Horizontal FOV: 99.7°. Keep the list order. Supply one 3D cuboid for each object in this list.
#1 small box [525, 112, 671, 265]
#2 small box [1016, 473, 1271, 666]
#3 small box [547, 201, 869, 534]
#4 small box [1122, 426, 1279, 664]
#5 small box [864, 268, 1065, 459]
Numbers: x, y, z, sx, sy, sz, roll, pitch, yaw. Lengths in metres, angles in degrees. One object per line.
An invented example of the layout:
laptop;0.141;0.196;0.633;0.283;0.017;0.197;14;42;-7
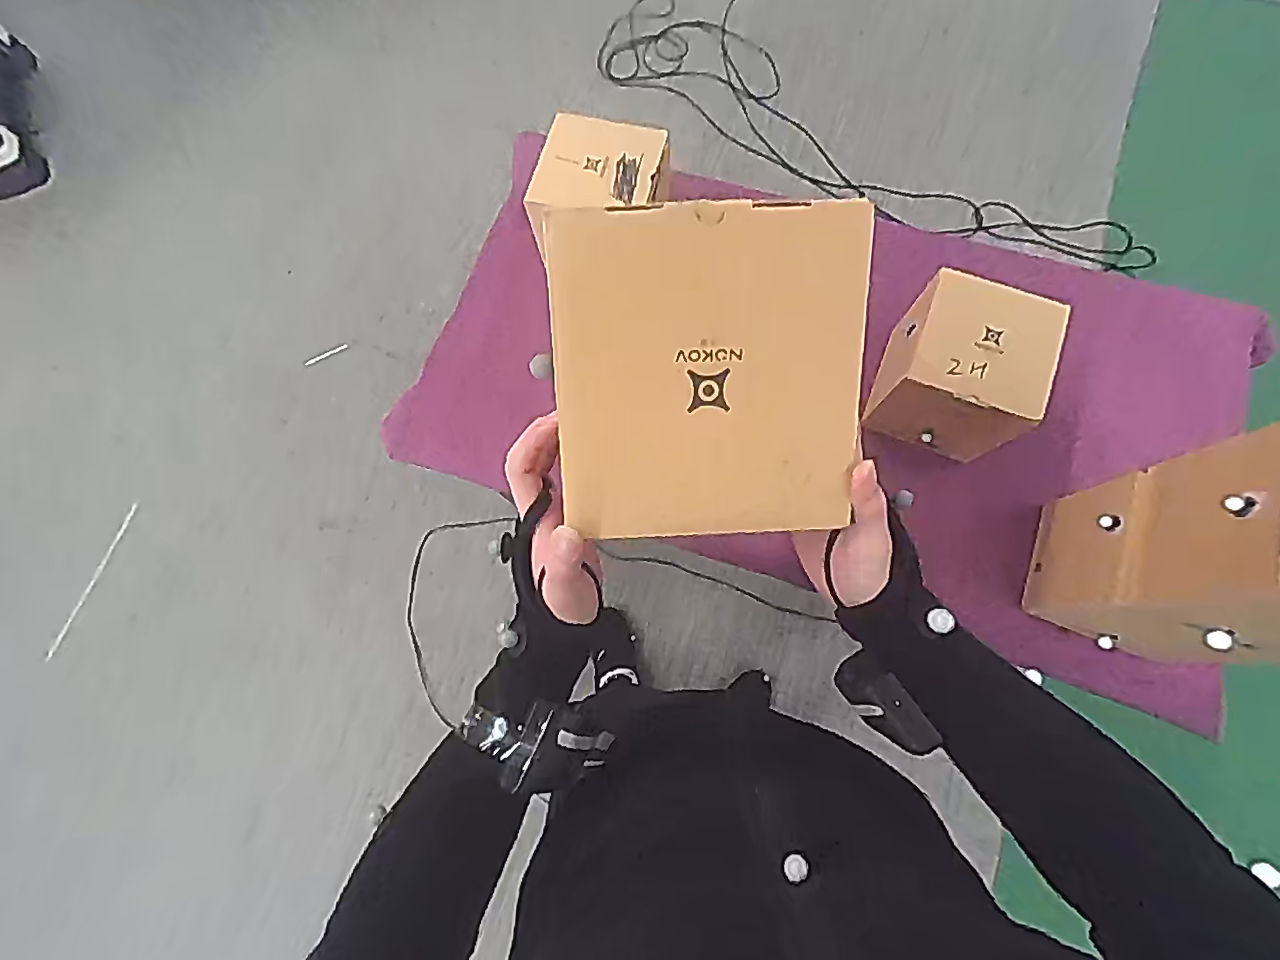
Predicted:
small box;-0.056;-0.429;0.853;0.179;0.176;0.168;14;76;7
small box;0.628;0.115;0.680;0.179;0.176;0.168;22;76;8
small box;0.034;-0.074;0.369;0.168;0.176;0.179;-2;104;-2
small box;0.624;0.068;0.524;0.168;0.176;0.179;22;77;10
small box;0.440;-0.154;0.761;0.168;0.176;0.179;22;77;8
